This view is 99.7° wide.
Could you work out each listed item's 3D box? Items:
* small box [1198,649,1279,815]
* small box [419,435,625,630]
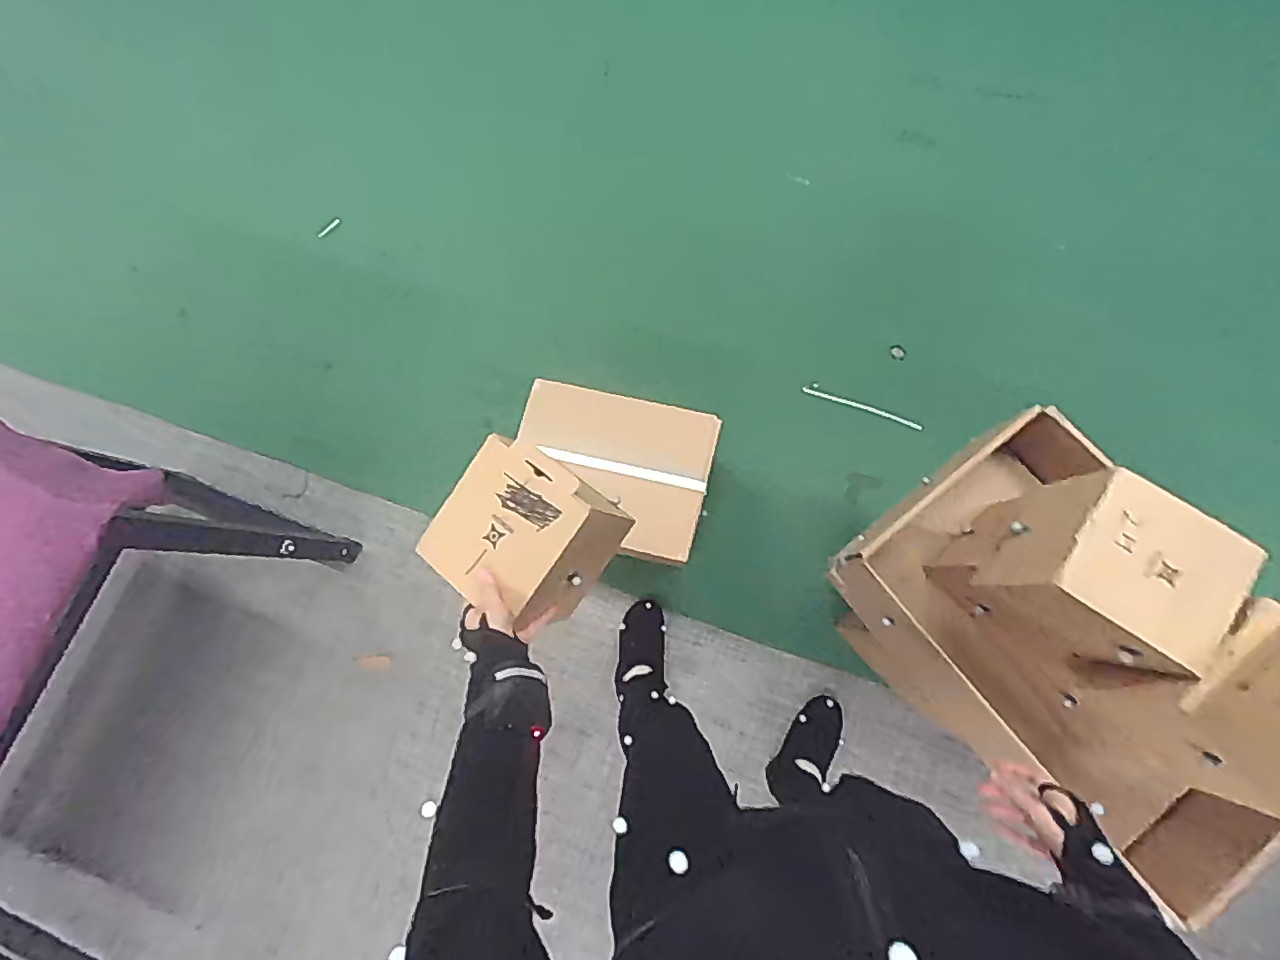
[{"bbox_3d":[0.676,0.248,0.471,0.168,0.176,0.179,-38,76,-4],"label":"small box"},{"bbox_3d":[-0.140,0.070,0.711,0.168,0.176,0.179,36,93,21],"label":"small box"}]
